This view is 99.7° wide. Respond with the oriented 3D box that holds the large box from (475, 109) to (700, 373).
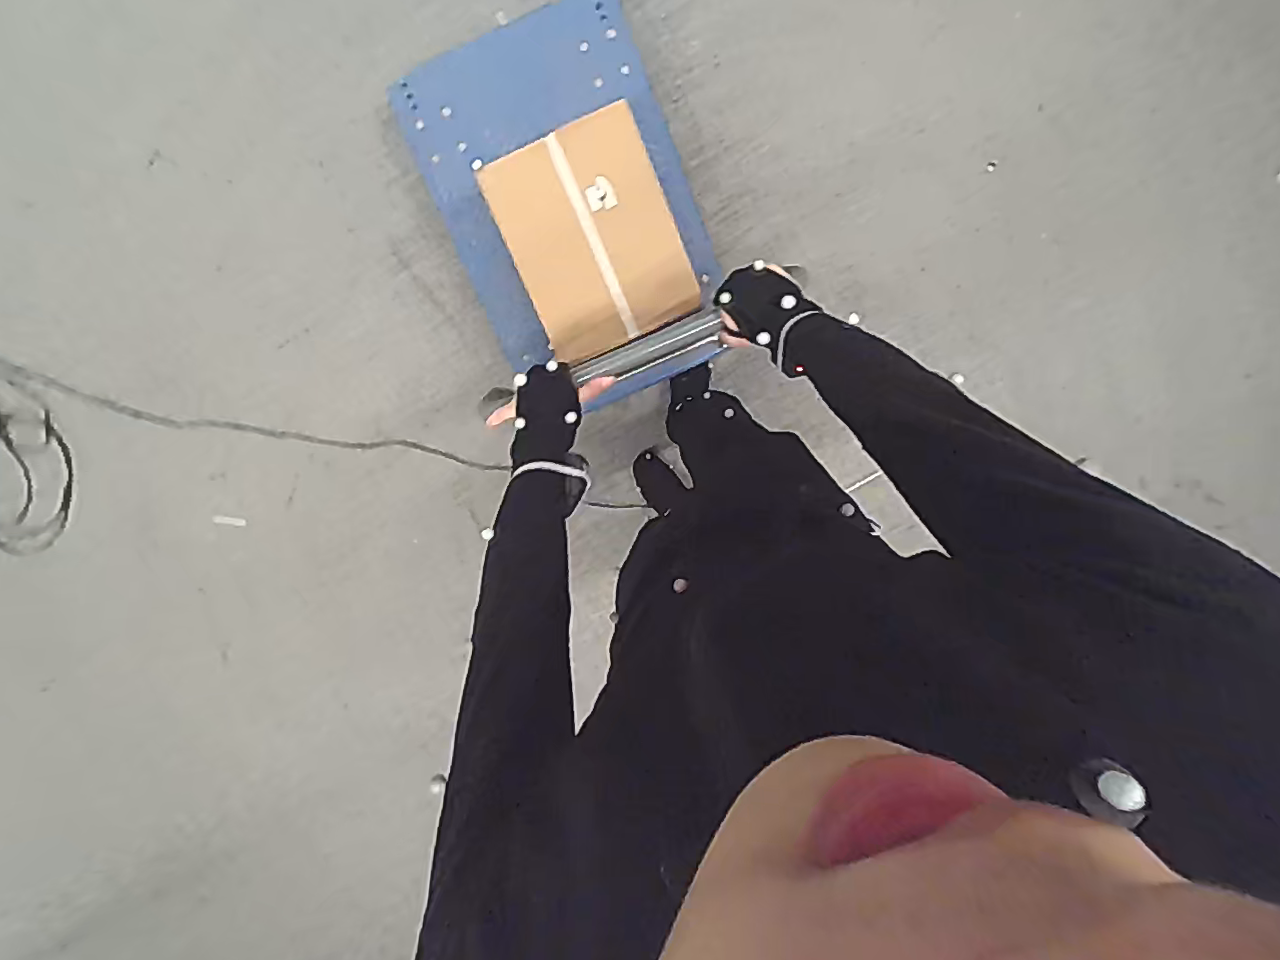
[{"bbox_3d":[-0.096,-0.485,1.202,0.320,0.320,0.408,-24,99,3],"label":"large box"}]
